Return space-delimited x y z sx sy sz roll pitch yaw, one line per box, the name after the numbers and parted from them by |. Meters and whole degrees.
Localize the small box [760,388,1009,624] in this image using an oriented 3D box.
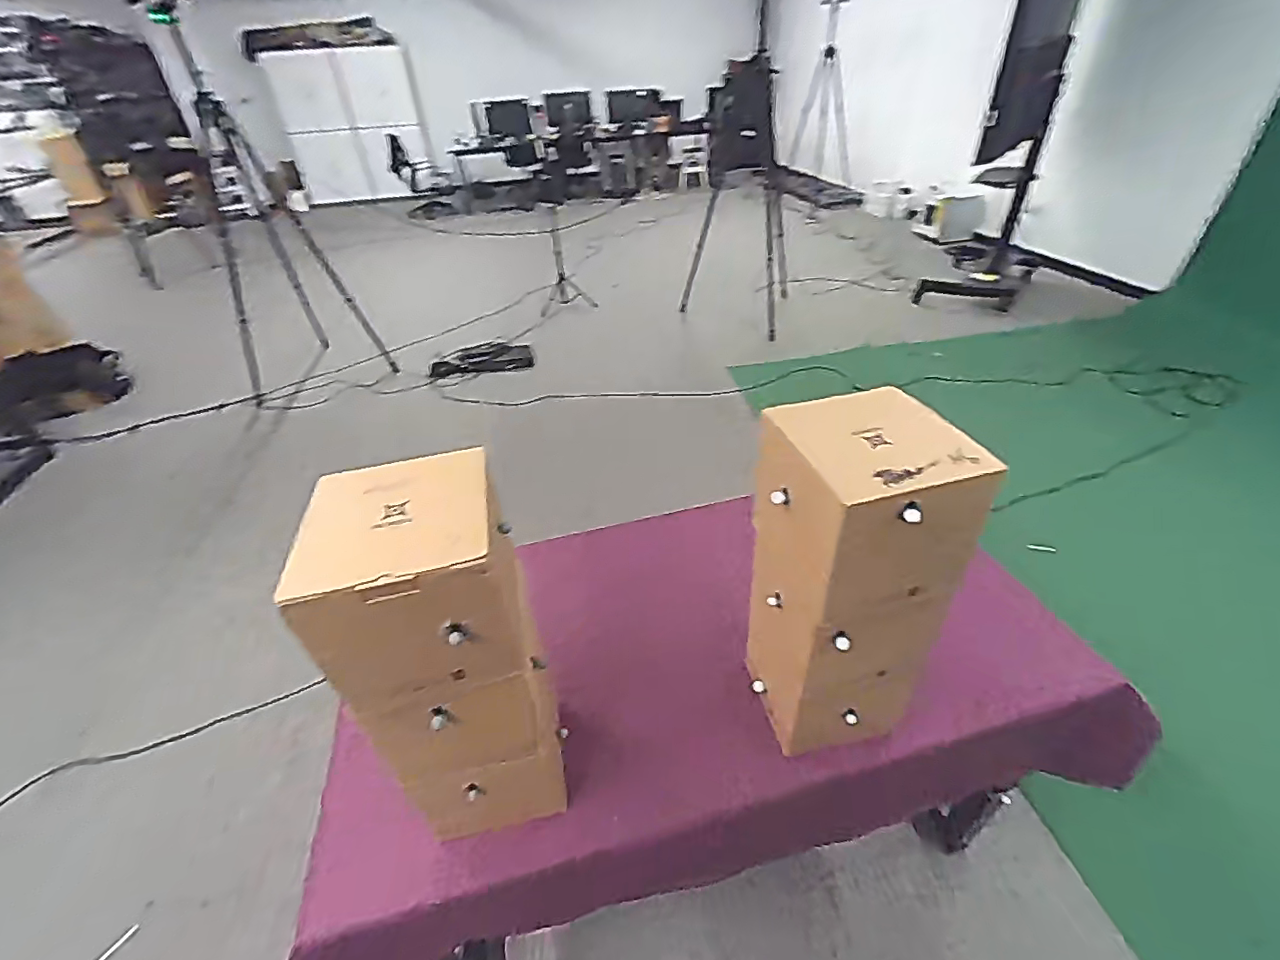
0.238 0.023 0.585 0.168 0.176 0.179 -12 37 -8 | small box

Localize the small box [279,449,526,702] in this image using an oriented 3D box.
-0.214 0.097 0.541 0.168 0.176 0.179 -11 37 -8 | small box

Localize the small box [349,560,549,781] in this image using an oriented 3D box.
-0.207 0.224 0.643 0.179 0.176 0.168 -11 38 -6 | small box

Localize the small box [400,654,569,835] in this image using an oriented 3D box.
-0.201 0.354 0.741 0.179 0.176 0.168 -9 38 -7 | small box

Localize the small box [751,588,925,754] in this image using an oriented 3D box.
0.275 0.272 0.797 0.179 0.176 0.168 -11 38 -6 | small box
